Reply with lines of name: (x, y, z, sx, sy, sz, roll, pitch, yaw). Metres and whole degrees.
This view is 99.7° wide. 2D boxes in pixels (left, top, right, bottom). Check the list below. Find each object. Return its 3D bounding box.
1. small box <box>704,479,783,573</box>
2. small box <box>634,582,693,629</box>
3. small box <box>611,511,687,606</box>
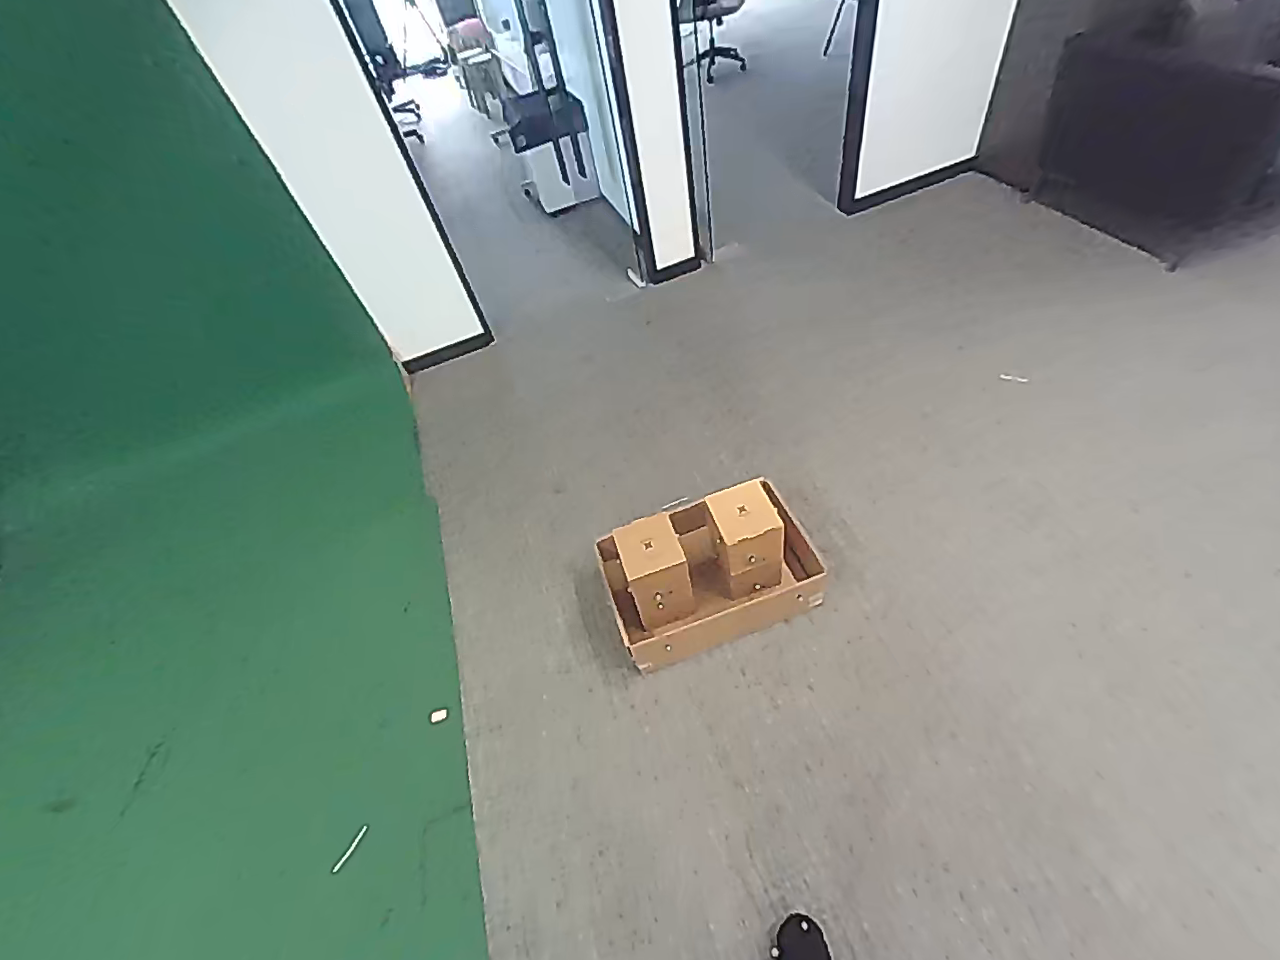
small box: (0.291, 0.133, 1.539, 0.168, 0.176, 0.179, -19, 51, -3)
small box: (0.054, 0.323, 1.645, 0.168, 0.176, 0.179, -18, 49, -3)
small box: (0.027, 0.222, 1.518, 0.168, 0.176, 0.179, -18, 50, -4)
